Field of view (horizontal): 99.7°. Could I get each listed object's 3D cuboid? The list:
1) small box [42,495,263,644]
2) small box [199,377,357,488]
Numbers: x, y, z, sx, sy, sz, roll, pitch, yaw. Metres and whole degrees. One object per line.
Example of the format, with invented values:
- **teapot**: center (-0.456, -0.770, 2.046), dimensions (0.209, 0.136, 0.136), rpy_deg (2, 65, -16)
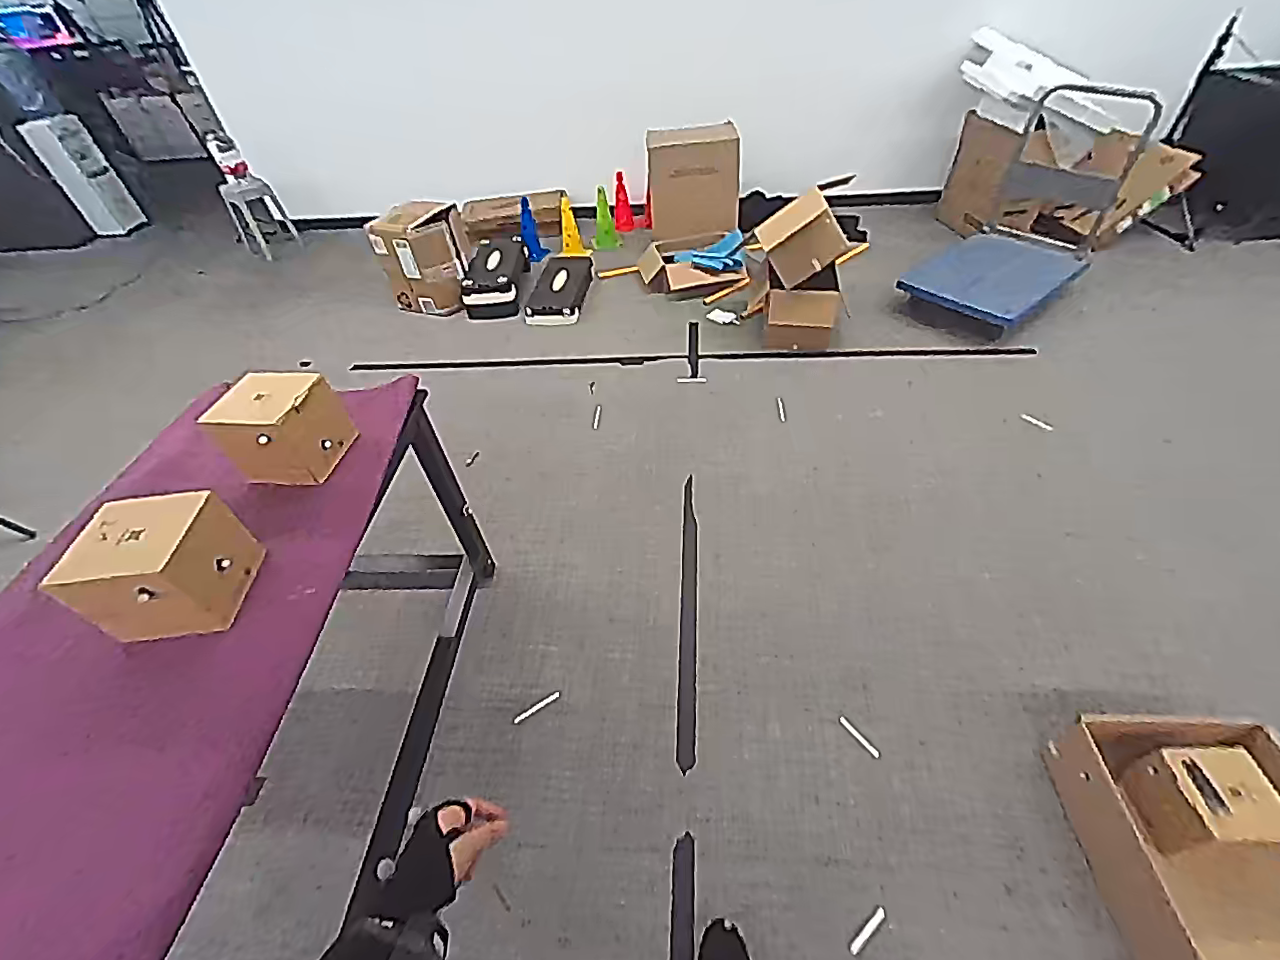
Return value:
- **small box**: center (-0.770, 0.148, 0.884), dimensions (0.179, 0.176, 0.168), rpy_deg (-7, 45, -1)
- **small box**: center (-0.738, -0.098, 1.125), dimensions (0.179, 0.176, 0.168), rpy_deg (2, 46, 9)
